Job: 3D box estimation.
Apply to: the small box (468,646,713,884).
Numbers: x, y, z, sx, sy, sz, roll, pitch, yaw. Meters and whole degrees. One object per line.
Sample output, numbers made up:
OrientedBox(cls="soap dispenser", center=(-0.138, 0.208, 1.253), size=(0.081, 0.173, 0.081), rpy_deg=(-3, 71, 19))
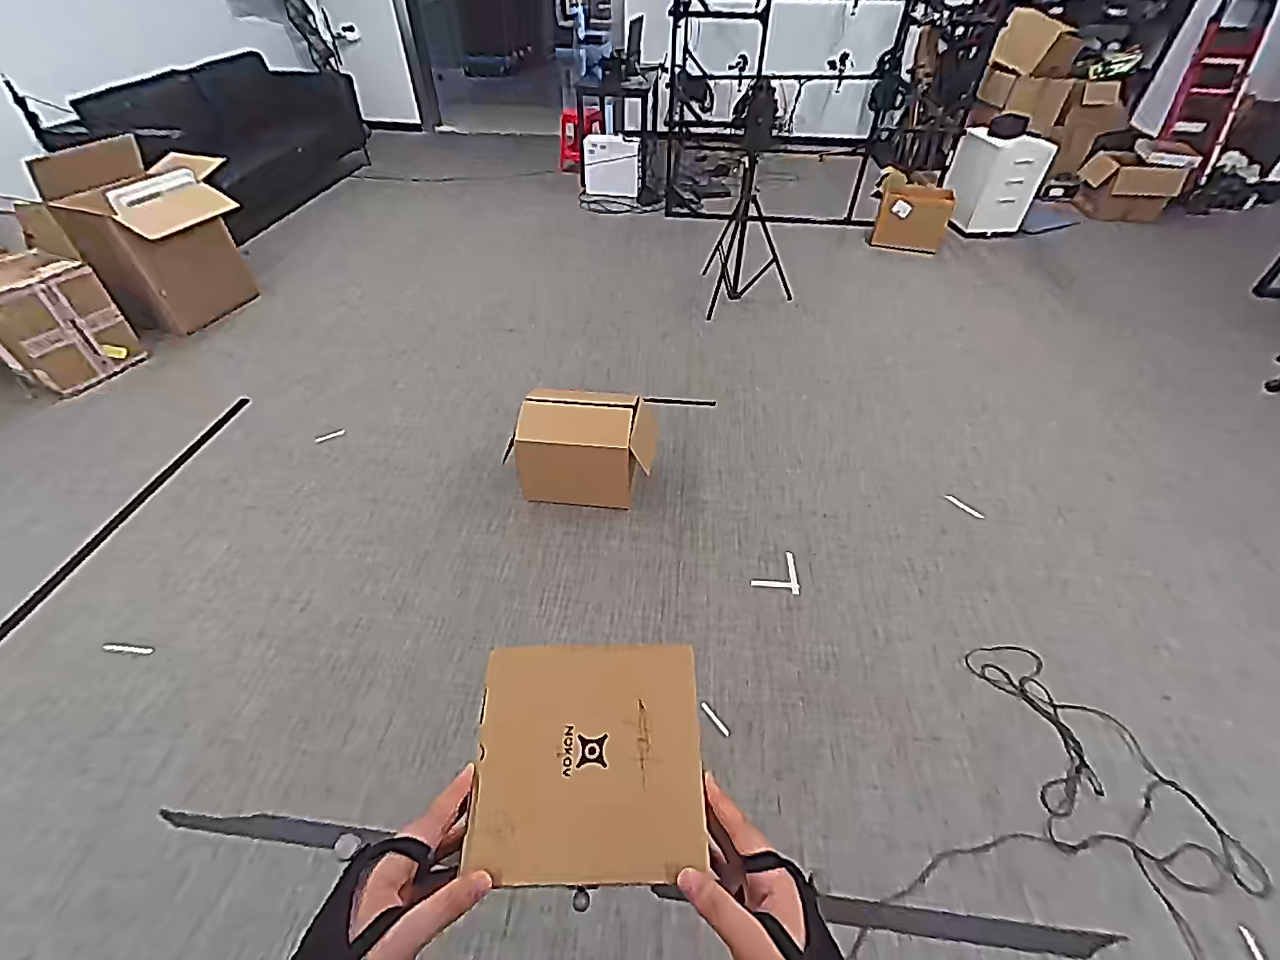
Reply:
OrientedBox(cls="small box", center=(-0.034, 0.261, 0.488), size=(0.179, 0.176, 0.168), rpy_deg=(-1, 53, -1))
